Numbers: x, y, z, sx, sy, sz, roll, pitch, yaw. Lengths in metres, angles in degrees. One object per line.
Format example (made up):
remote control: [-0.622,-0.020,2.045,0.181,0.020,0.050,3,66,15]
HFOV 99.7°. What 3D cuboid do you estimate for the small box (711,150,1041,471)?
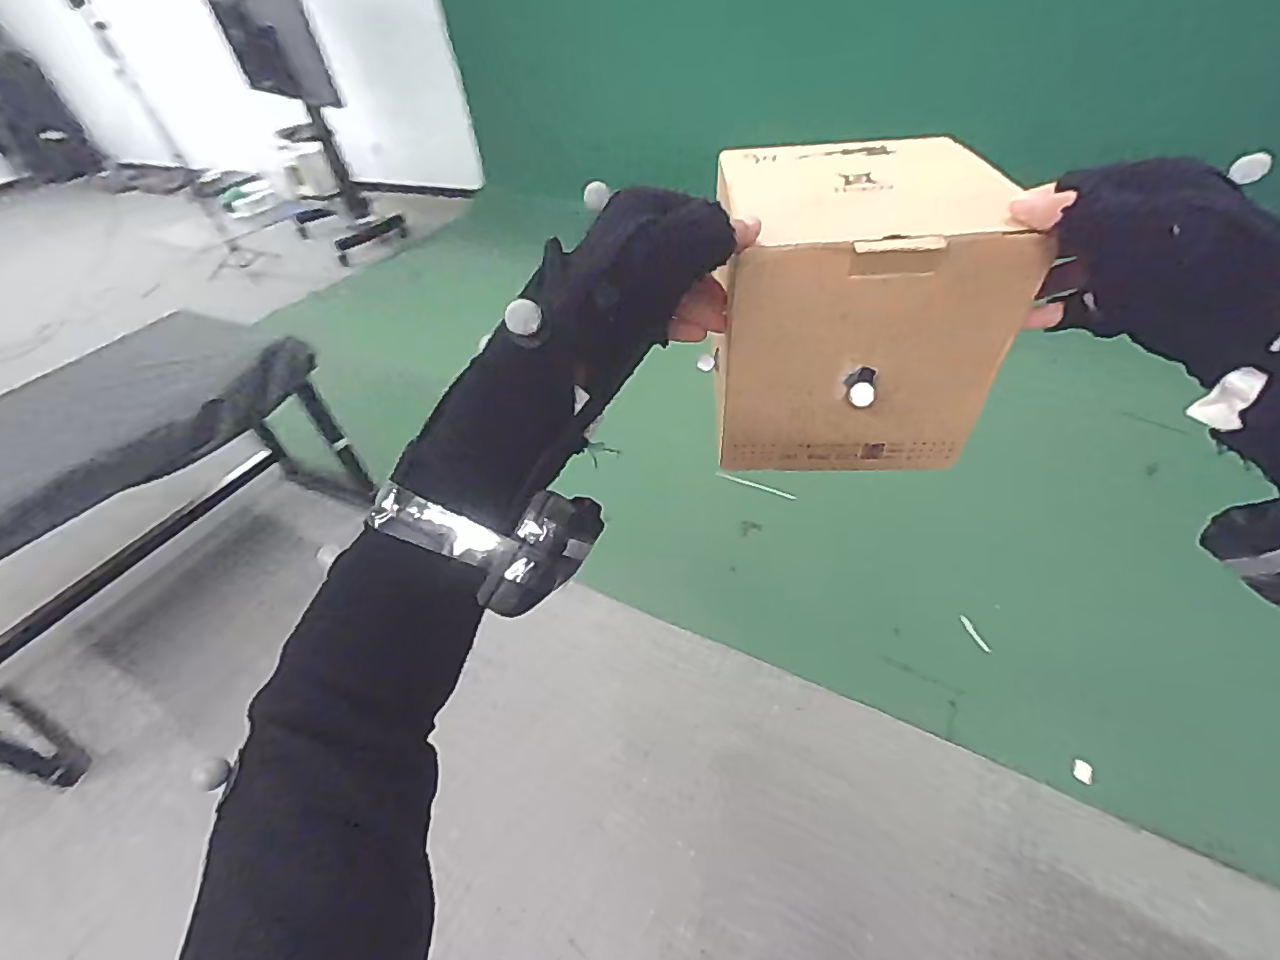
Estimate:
small box: [0.138,-0.120,0.400,0.168,0.176,0.179,-1,45,5]
